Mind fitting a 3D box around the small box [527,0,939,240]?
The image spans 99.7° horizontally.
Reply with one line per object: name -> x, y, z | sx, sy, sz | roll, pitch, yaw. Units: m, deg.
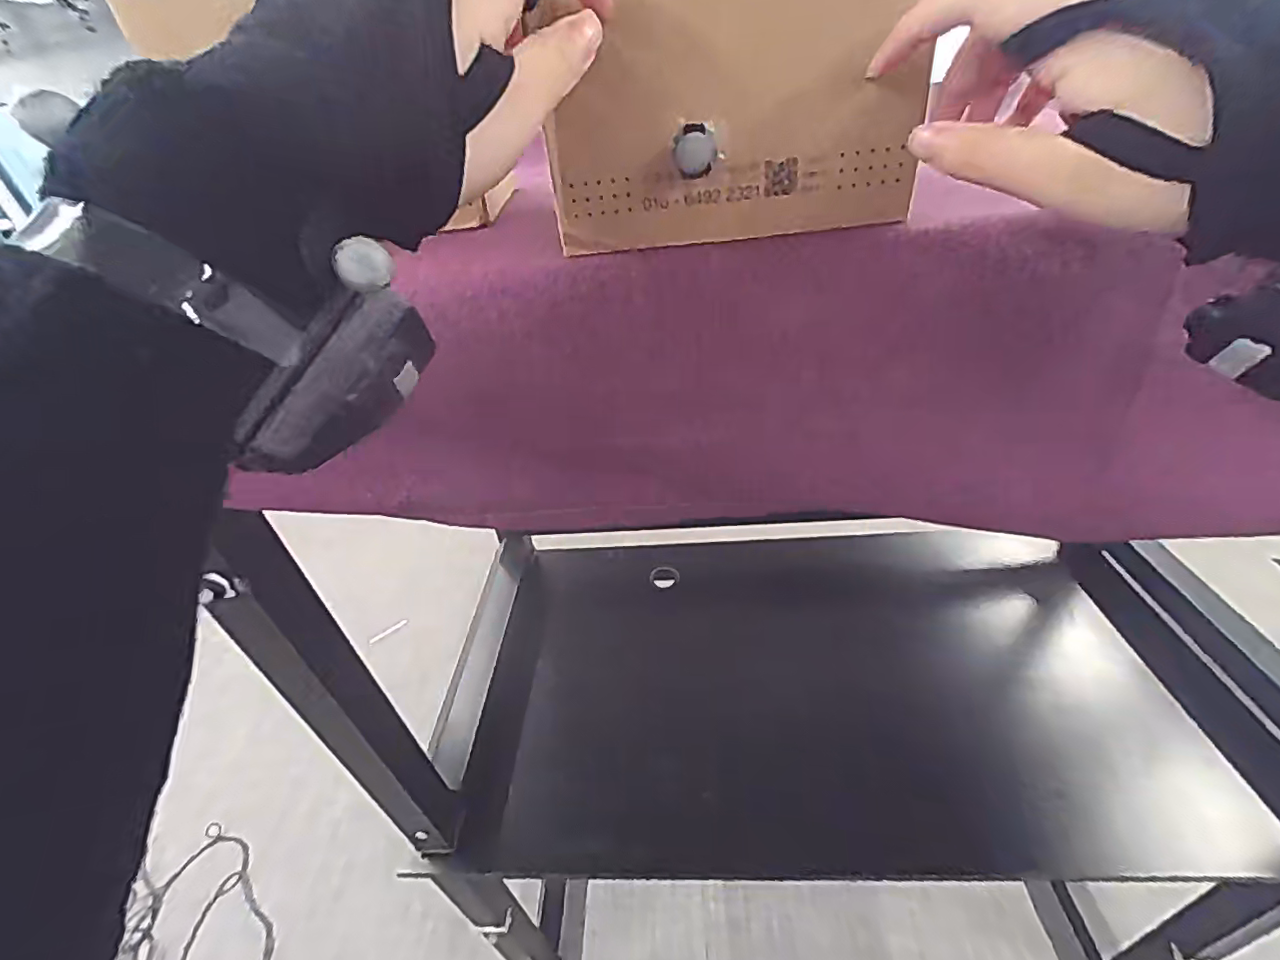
small box -> 0.036, -0.234, 0.279 | 0.168, 0.176, 0.179 | -5, 36, 4

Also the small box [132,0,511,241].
small box -> -0.192, -0.272, 0.369 | 0.168, 0.176, 0.179 | -8, 35, 0
